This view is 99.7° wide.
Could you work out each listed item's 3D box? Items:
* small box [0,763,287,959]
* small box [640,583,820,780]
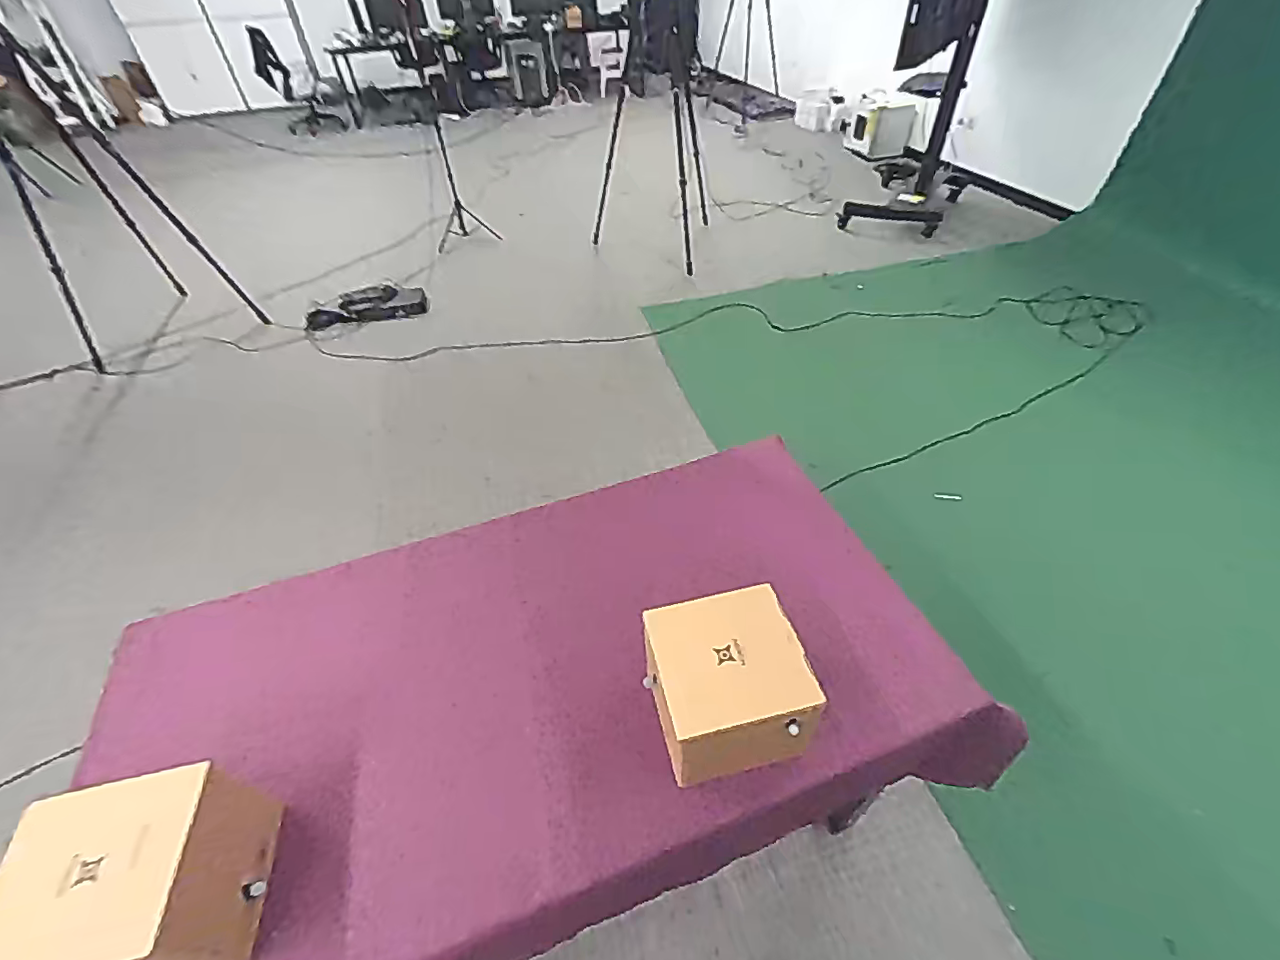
[{"bbox_3d":[-0.524,0.433,0.576,0.179,0.176,0.168,-11,46,-8],"label":"small box"},{"bbox_3d":[0.106,0.264,0.703,0.179,0.176,0.168,-11,46,-8],"label":"small box"}]
